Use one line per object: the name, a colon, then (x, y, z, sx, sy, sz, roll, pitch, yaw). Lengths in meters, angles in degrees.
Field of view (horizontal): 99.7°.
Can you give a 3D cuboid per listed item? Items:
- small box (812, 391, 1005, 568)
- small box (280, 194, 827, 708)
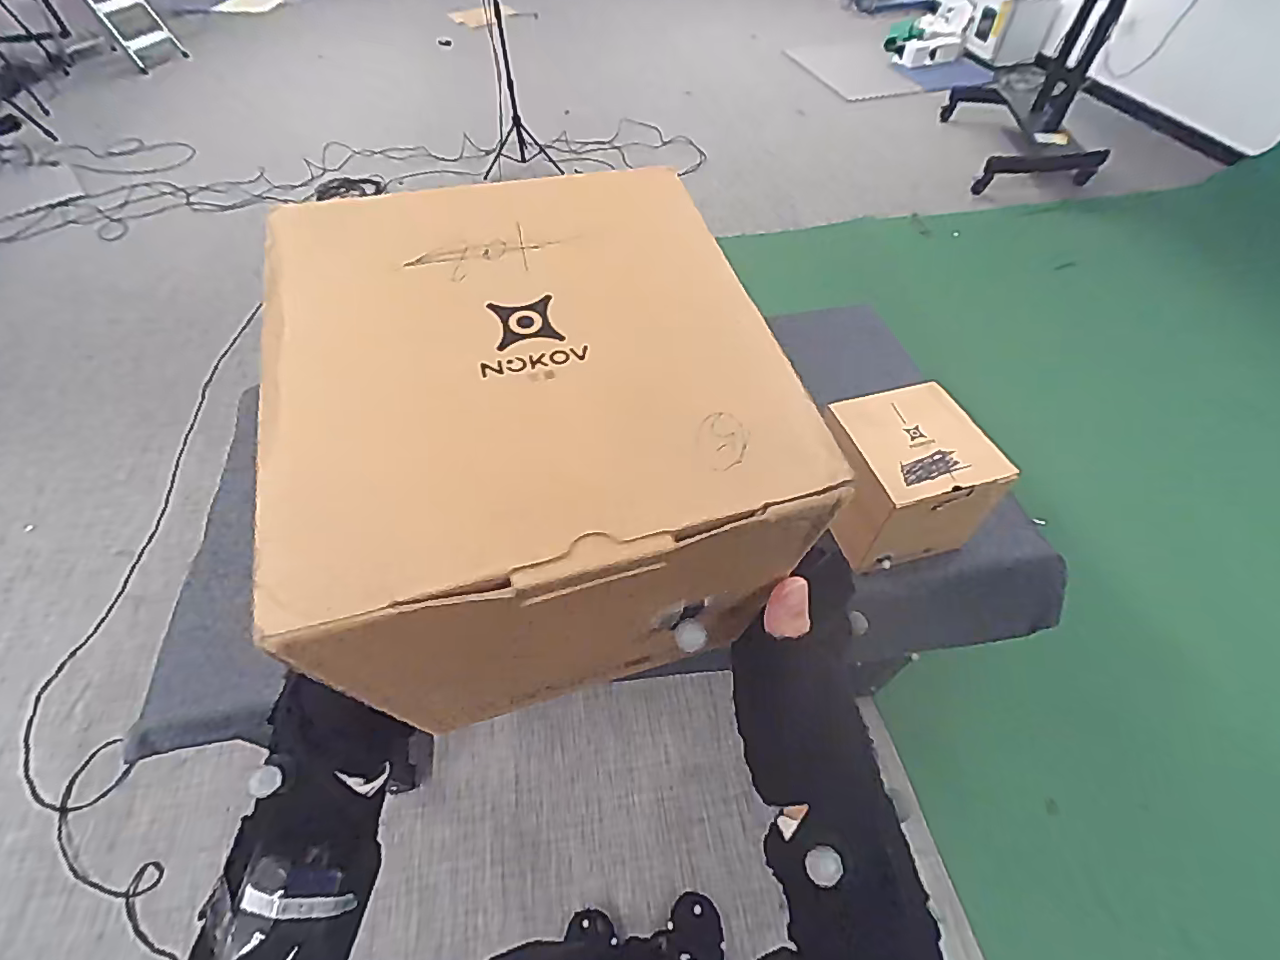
small box: (0.348, 0.007, 0.757, 0.168, 0.176, 0.179, -12, 52, -8)
small box: (-0.046, -0.005, 0.264, 0.168, 0.176, 0.179, -13, 59, -14)
